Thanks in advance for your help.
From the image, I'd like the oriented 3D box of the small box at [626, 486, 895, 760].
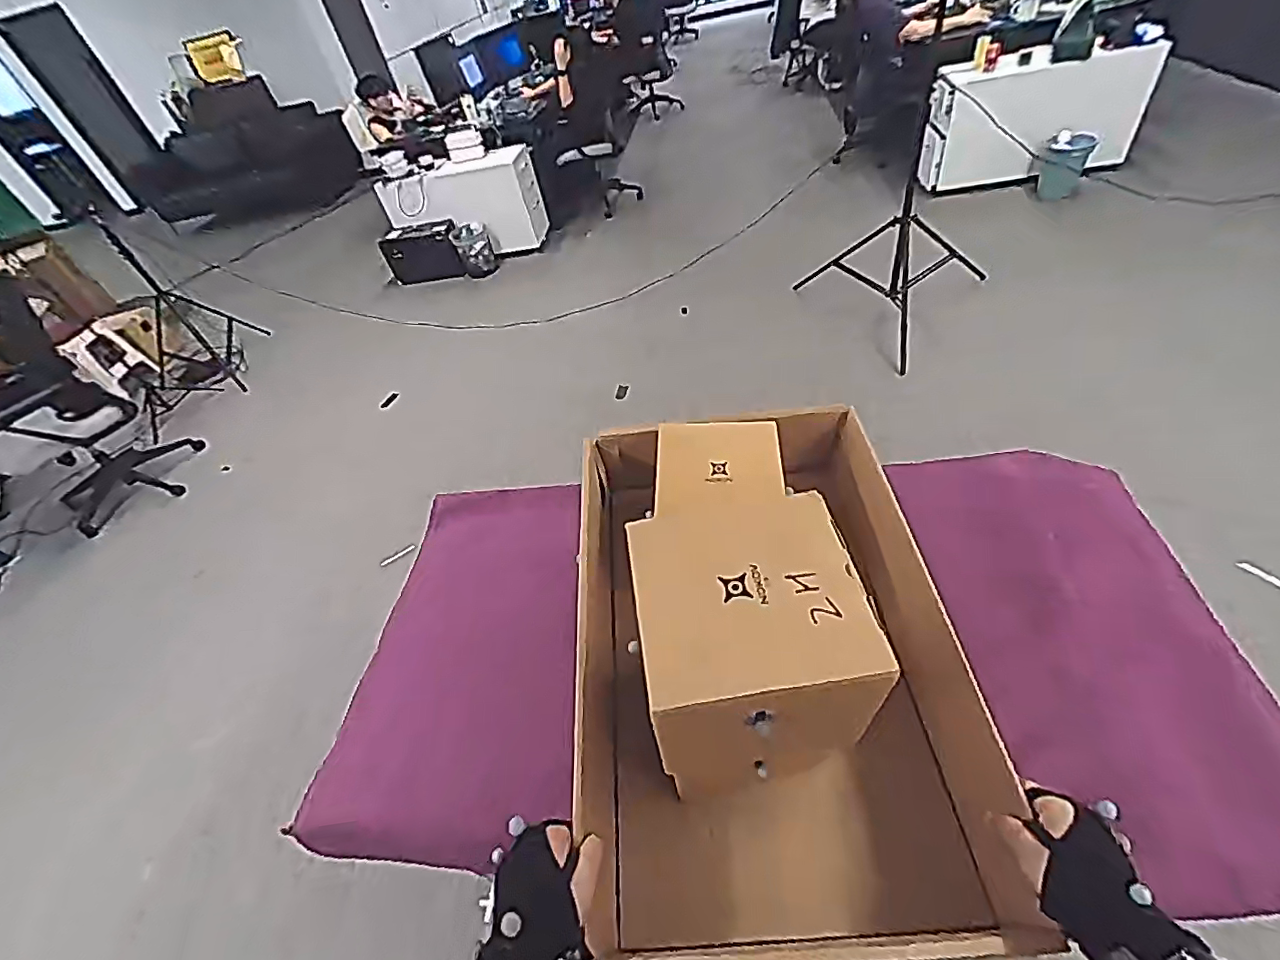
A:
[{"bbox_3d":[0.090,0.131,0.479,0.179,0.176,0.168,-9,49,0],"label":"small box"}]
